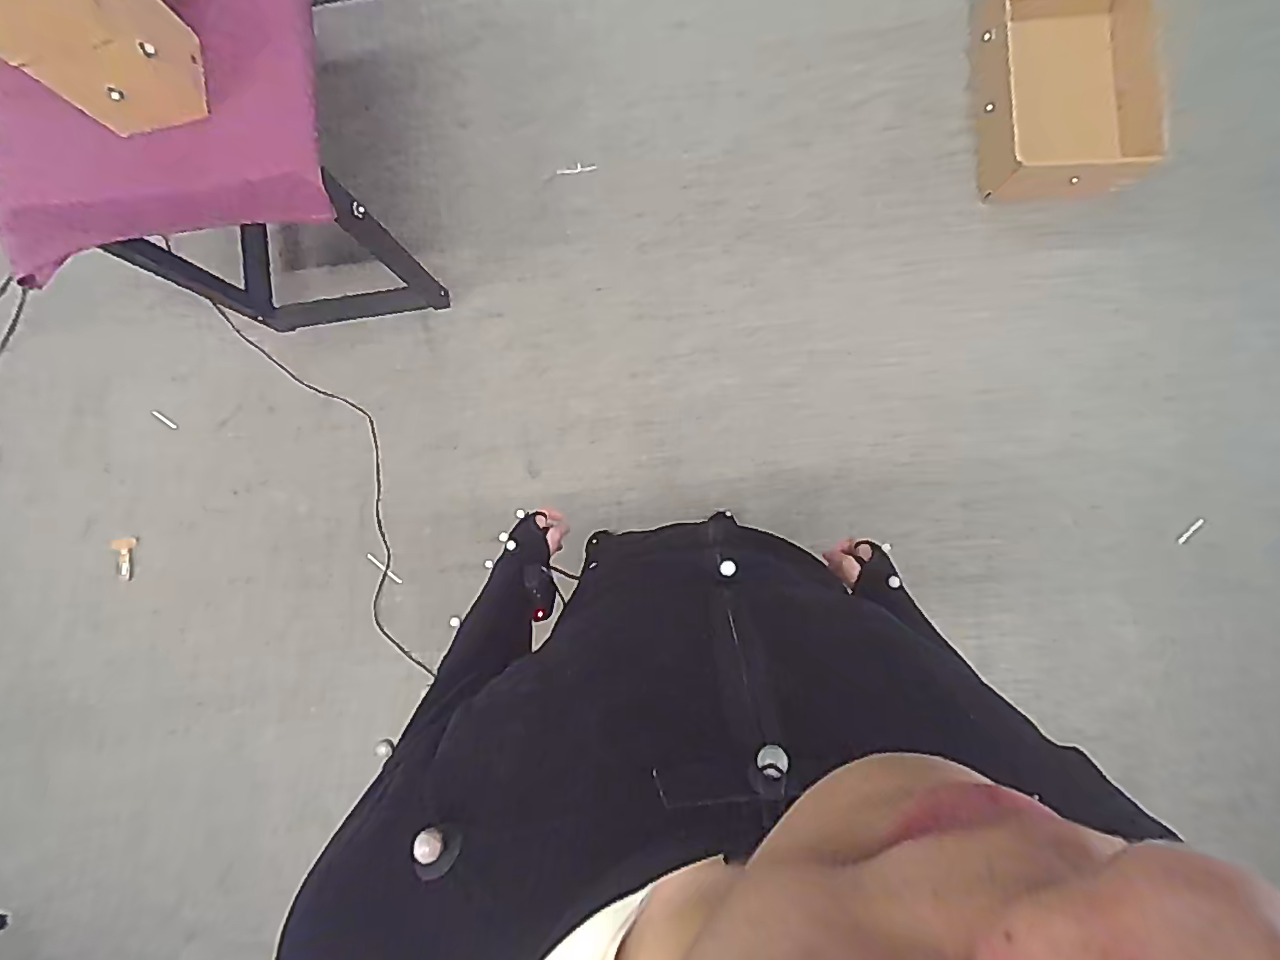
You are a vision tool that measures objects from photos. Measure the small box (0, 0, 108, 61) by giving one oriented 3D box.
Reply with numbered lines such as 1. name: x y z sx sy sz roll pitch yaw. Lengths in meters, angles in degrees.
1. small box: -0.919 -0.741 0.762 0.179 0.176 0.168 -9 87 3
